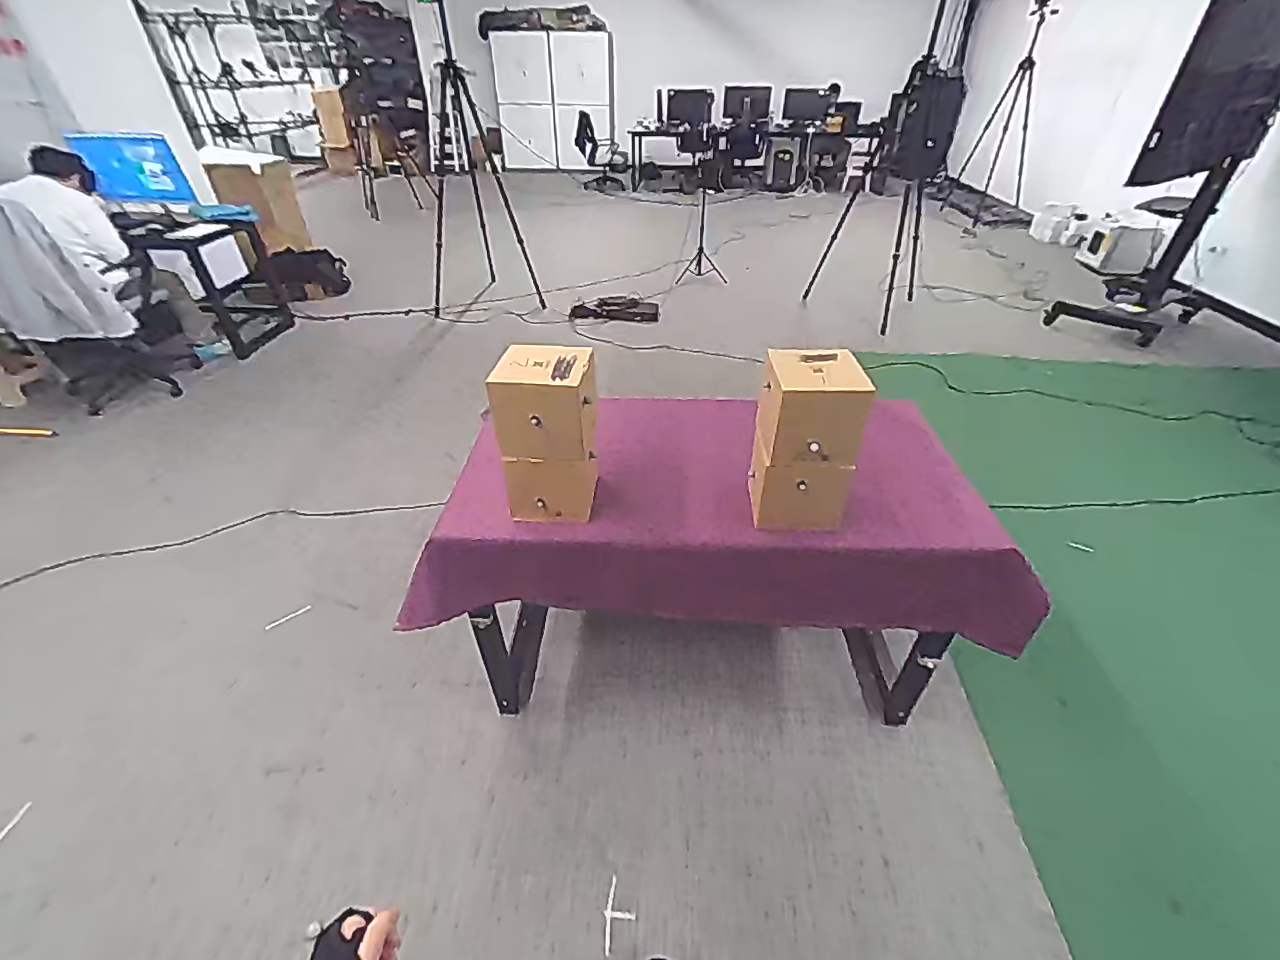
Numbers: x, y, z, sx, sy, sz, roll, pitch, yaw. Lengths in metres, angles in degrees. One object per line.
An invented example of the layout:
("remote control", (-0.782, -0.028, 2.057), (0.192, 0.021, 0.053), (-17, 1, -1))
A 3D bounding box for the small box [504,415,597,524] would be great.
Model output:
("small box", (-0.187, -0.025, 1.189), (0.168, 0.176, 0.179), (2, 38, 3))

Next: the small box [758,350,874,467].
("small box", (0.332, -0.142, 1.062), (0.168, 0.176, 0.179), (0, 38, 2))

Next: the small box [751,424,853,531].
("small box", (0.334, -0.006, 1.155), (0.179, 0.176, 0.168), (2, 38, 4))
